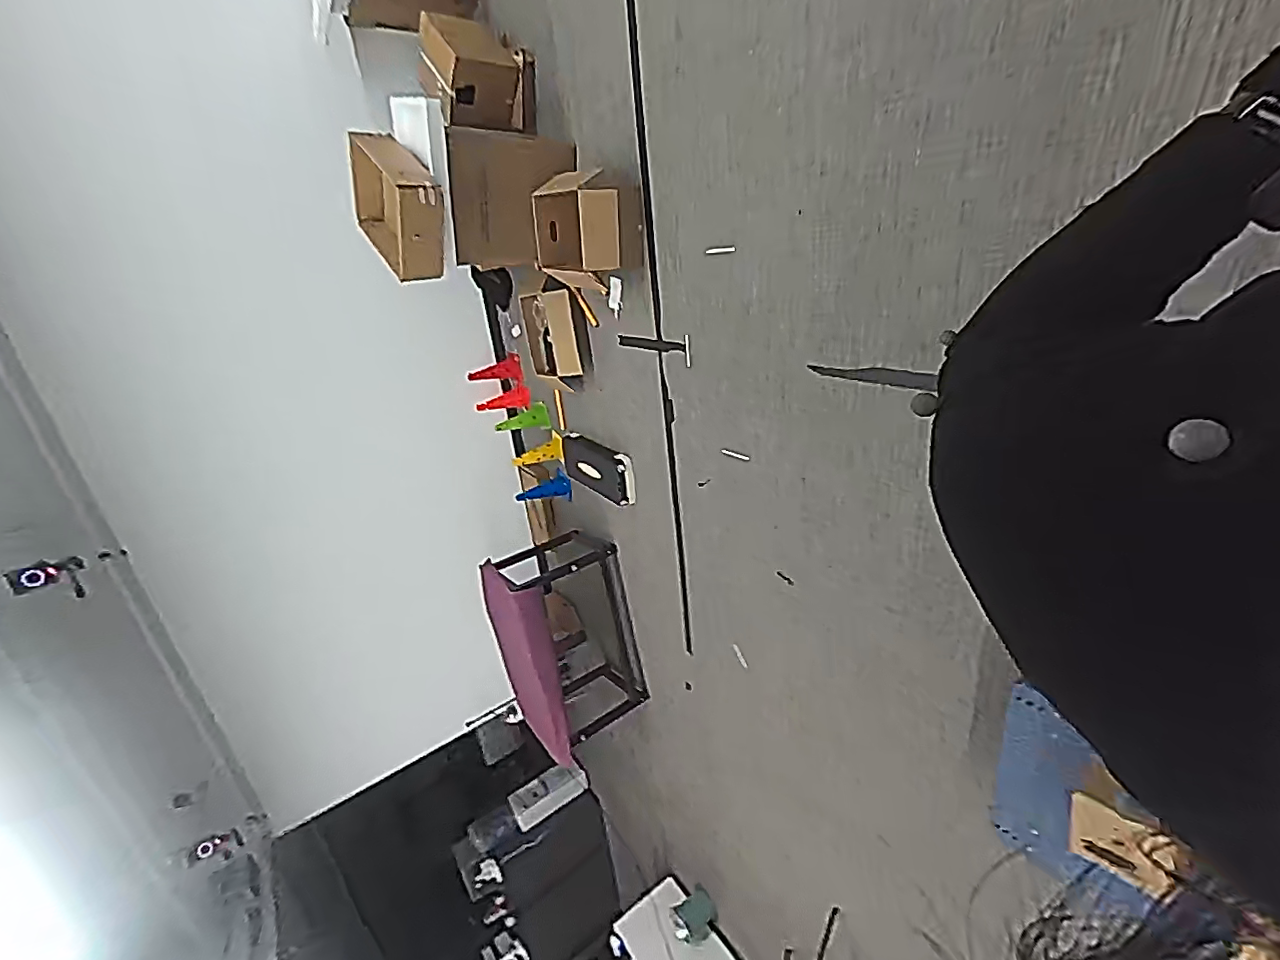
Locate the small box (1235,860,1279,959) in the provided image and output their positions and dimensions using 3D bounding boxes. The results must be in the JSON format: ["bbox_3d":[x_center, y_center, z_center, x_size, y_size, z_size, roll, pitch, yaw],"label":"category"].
[{"bbox_3d":[1.239,0.860,0.987,0.168,0.176,0.179,18,122,53],"label":"small box"}]
